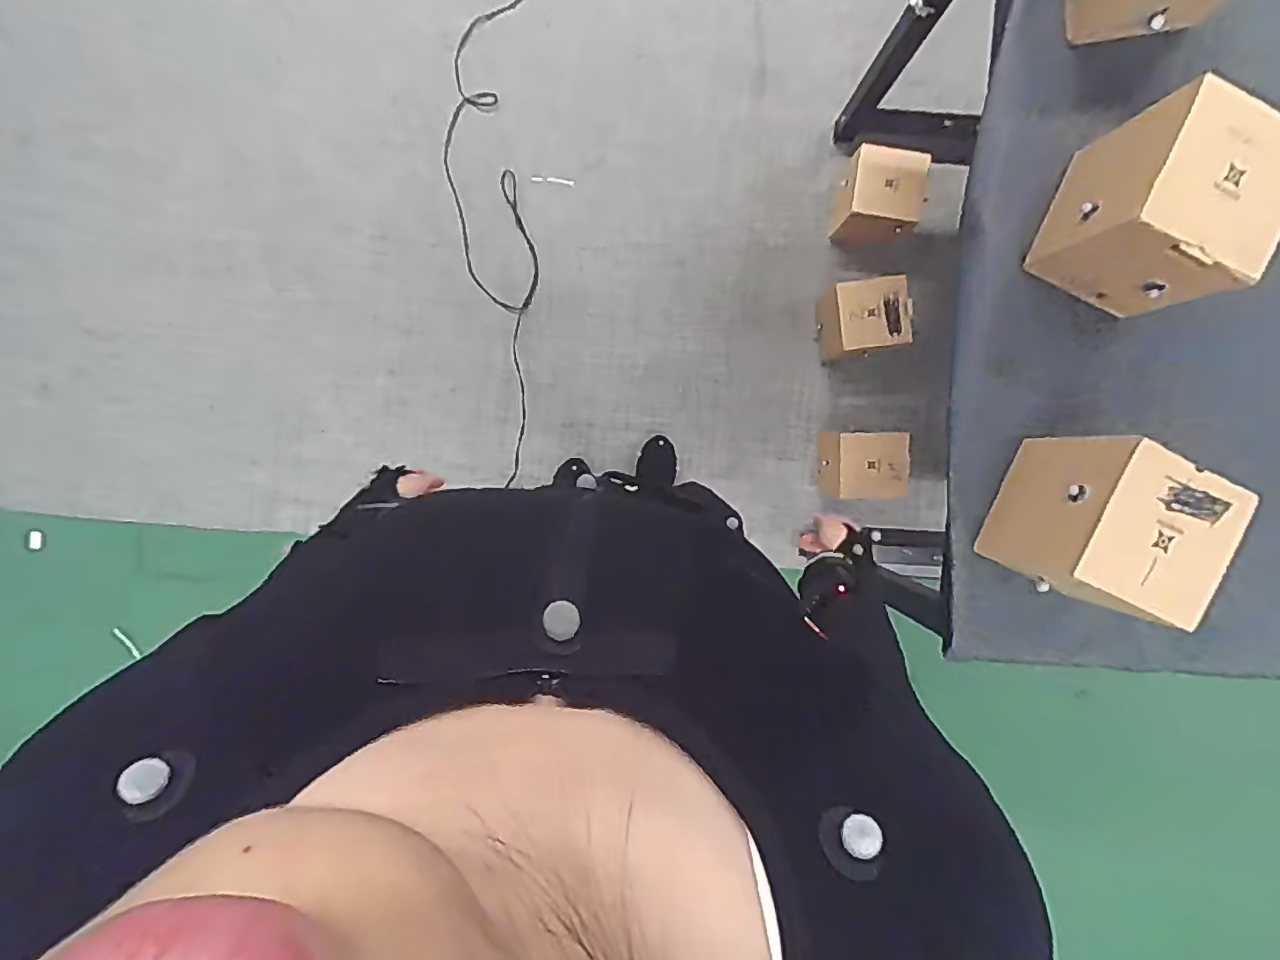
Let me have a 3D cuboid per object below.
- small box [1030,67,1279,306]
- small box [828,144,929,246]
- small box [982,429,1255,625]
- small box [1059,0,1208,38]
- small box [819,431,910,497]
[{"bbox_3d":[0.639,-0.342,0.673,0.168,0.176,0.179,23,91,-5],"label":"small box"},{"bbox_3d":[0.602,-0.720,1.385,0.179,0.176,0.168,8,92,-2],"label":"small box"},{"bbox_3d":[0.582,0.050,0.685,0.168,0.176,0.179,25,91,-4],"label":"small box"},{"bbox_3d":[0.654,-0.689,0.655,0.179,0.176,0.168,-9,93,0],"label":"small box"},{"bbox_3d":[0.578,-0.041,1.413,0.179,0.176,0.168,-1,93,-1],"label":"small box"}]
